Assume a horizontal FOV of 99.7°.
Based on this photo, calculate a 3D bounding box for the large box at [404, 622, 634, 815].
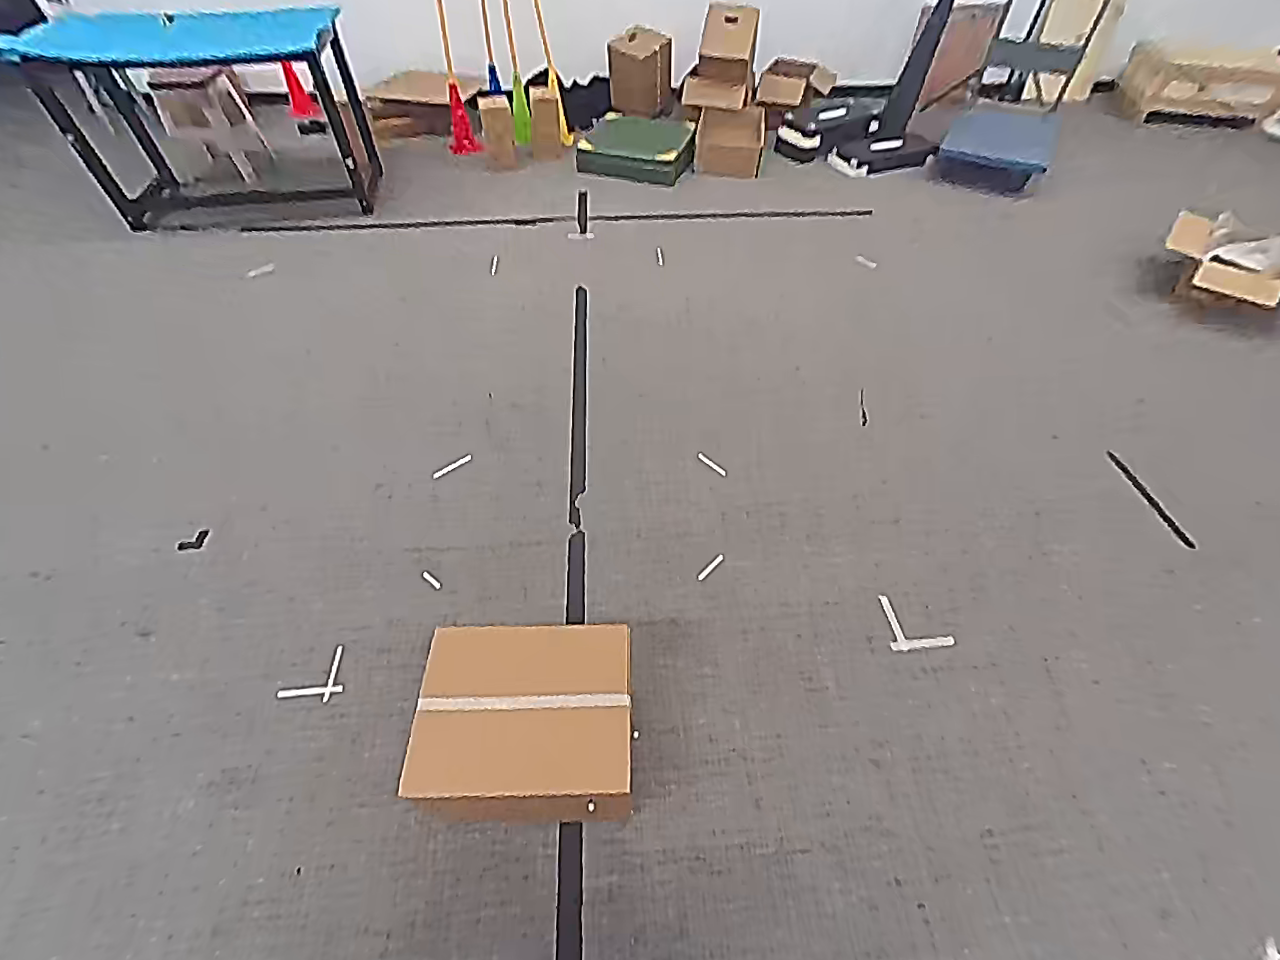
[{"bbox_3d":[-0.218,0.515,1.153,0.408,0.320,0.320,-1,51,-1],"label":"large box"}]
